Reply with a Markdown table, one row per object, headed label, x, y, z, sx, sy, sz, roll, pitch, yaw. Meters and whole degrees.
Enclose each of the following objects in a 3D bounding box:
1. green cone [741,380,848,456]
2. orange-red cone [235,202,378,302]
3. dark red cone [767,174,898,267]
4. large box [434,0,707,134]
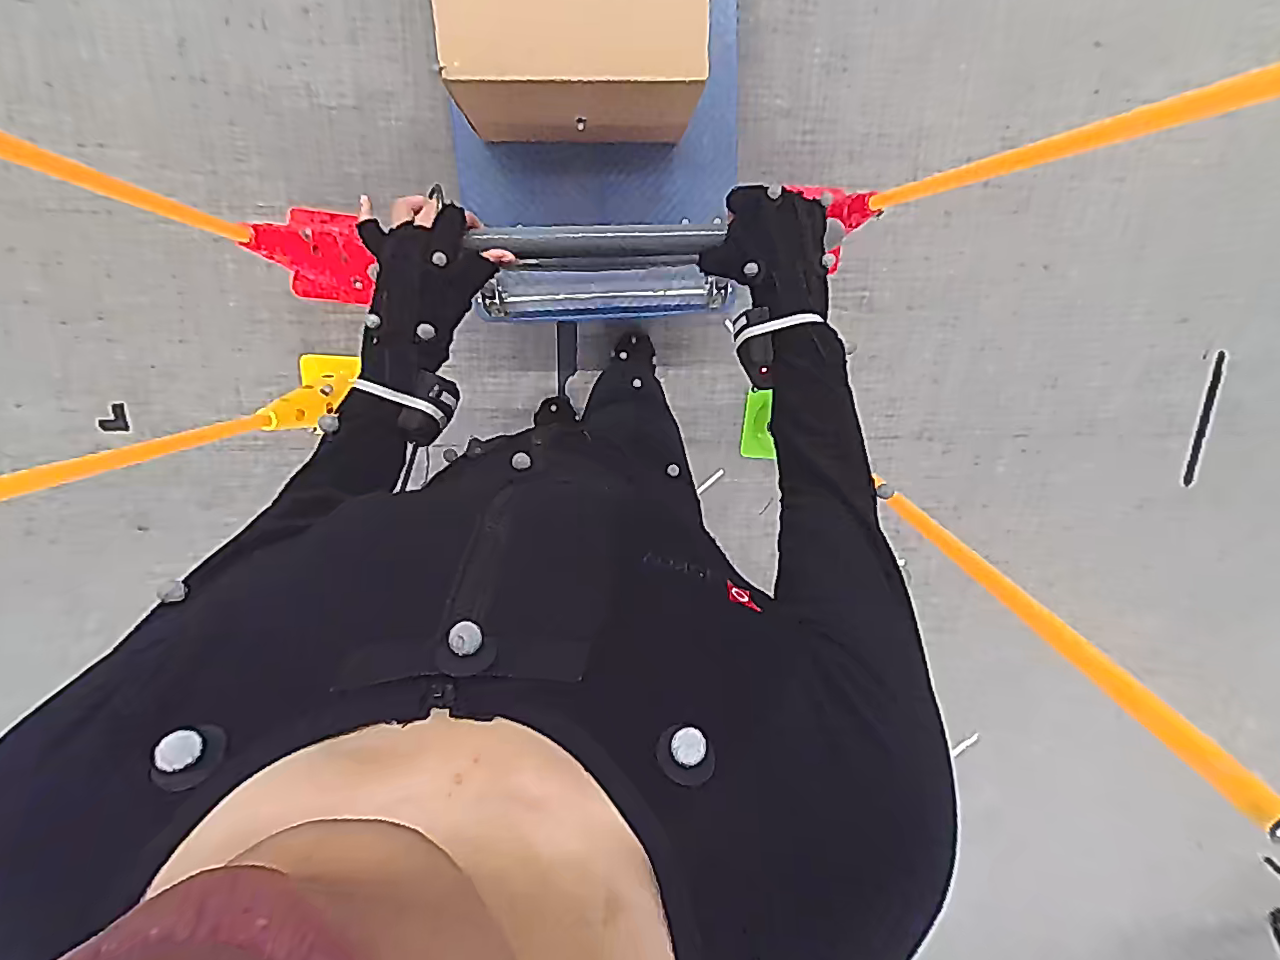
| label | x | y | z | sx | sy | sz | roll | pitch | yaw |
| --- | --- | --- | --- | --- | --- | --- | --- | --- | --- |
| green cone | 0.396 | -0.118 | 1.306 | 0.202 | 0.368 | 0.200 | 3 | 106 | -7 |
| orange-red cone | -0.705 | -0.490 | 1.108 | 0.198 | 0.360 | 0.199 | 6 | 104 | -8 |
| dark red cone | 0.425 | -0.579 | 1.155 | 0.201 | 0.394 | 0.202 | -1 | 107 | -6 |
| large box | -0.109 | -0.803 | 0.913 | 0.408 | 0.320 | 0.320 | -2 | 107 | -3 |
